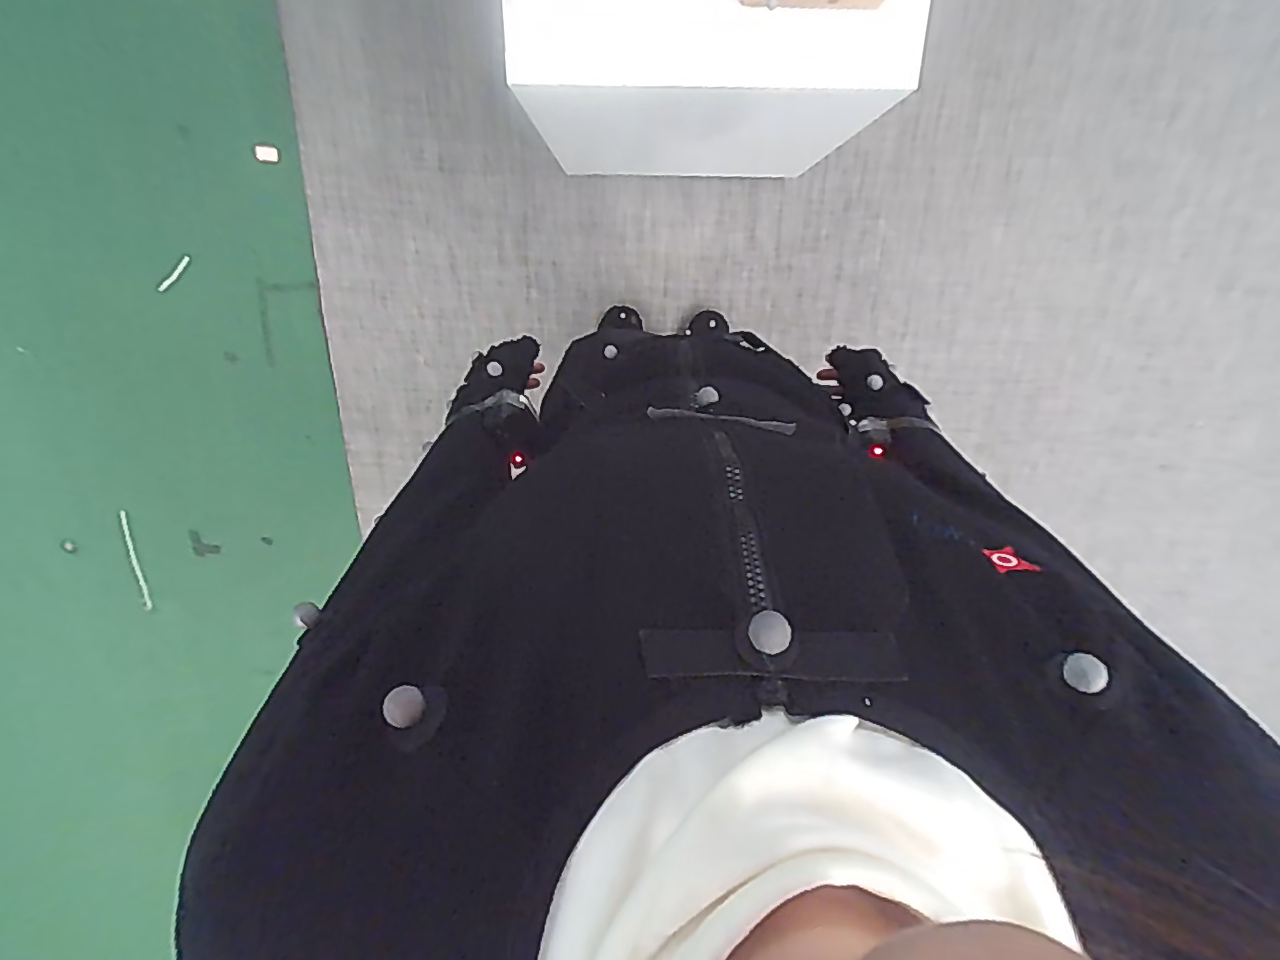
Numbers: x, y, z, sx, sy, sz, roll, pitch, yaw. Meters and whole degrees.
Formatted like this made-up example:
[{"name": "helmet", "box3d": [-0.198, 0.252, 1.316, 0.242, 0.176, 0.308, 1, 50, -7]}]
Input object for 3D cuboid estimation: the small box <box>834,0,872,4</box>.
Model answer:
[{"name": "small box", "box3d": [0.201, -0.619, 0.537, 0.168, 0.176, 0.179, 2, 108, 0]}]
